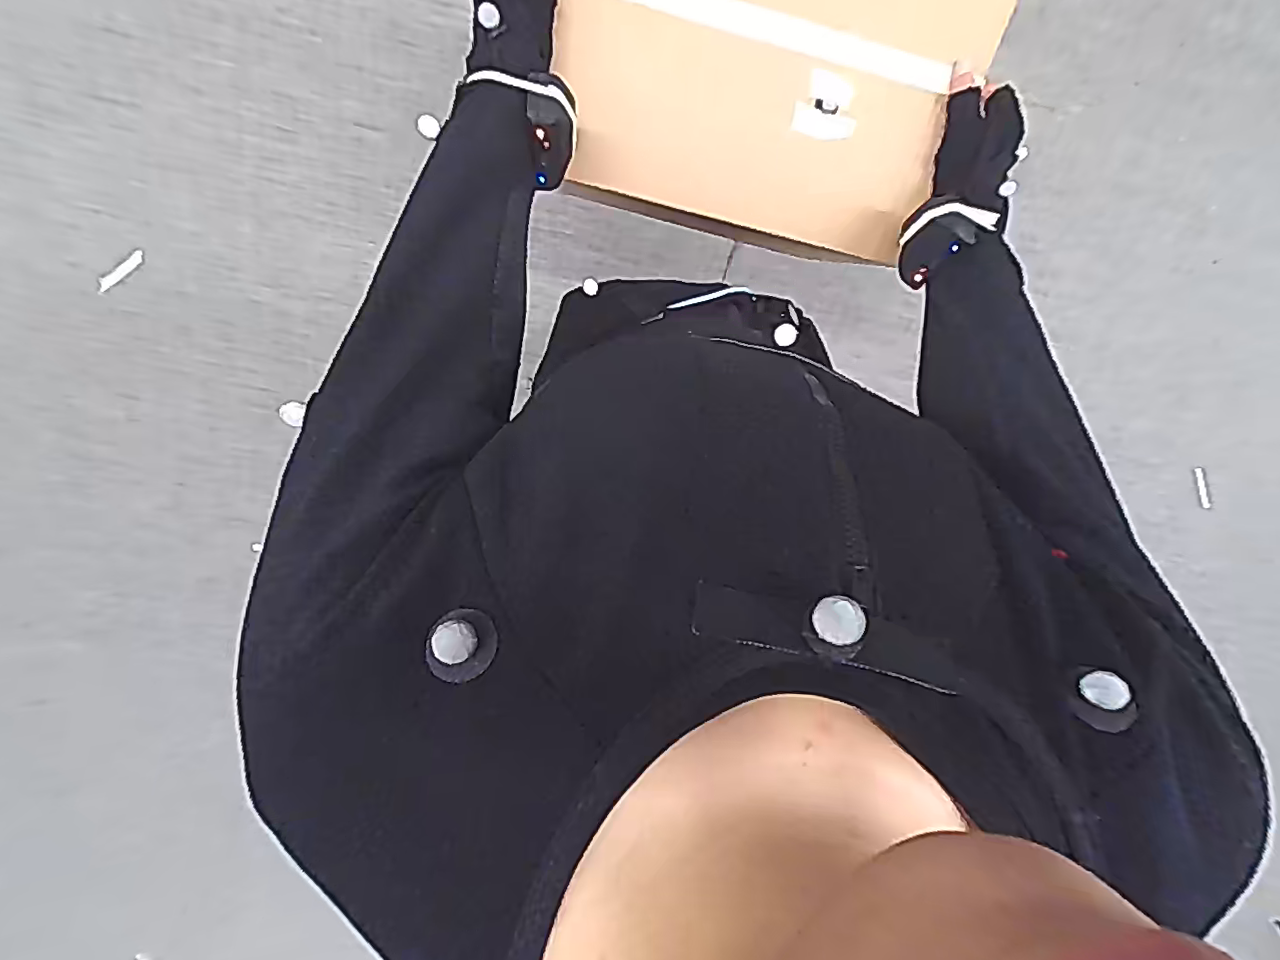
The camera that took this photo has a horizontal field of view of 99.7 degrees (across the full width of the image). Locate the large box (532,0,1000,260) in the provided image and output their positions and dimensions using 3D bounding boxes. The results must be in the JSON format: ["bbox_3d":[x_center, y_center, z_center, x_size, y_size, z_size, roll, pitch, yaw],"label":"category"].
[{"bbox_3d":[0.109,-0.467,0.631,0.408,0.320,0.320,11,114,-8],"label":"large box"}]
